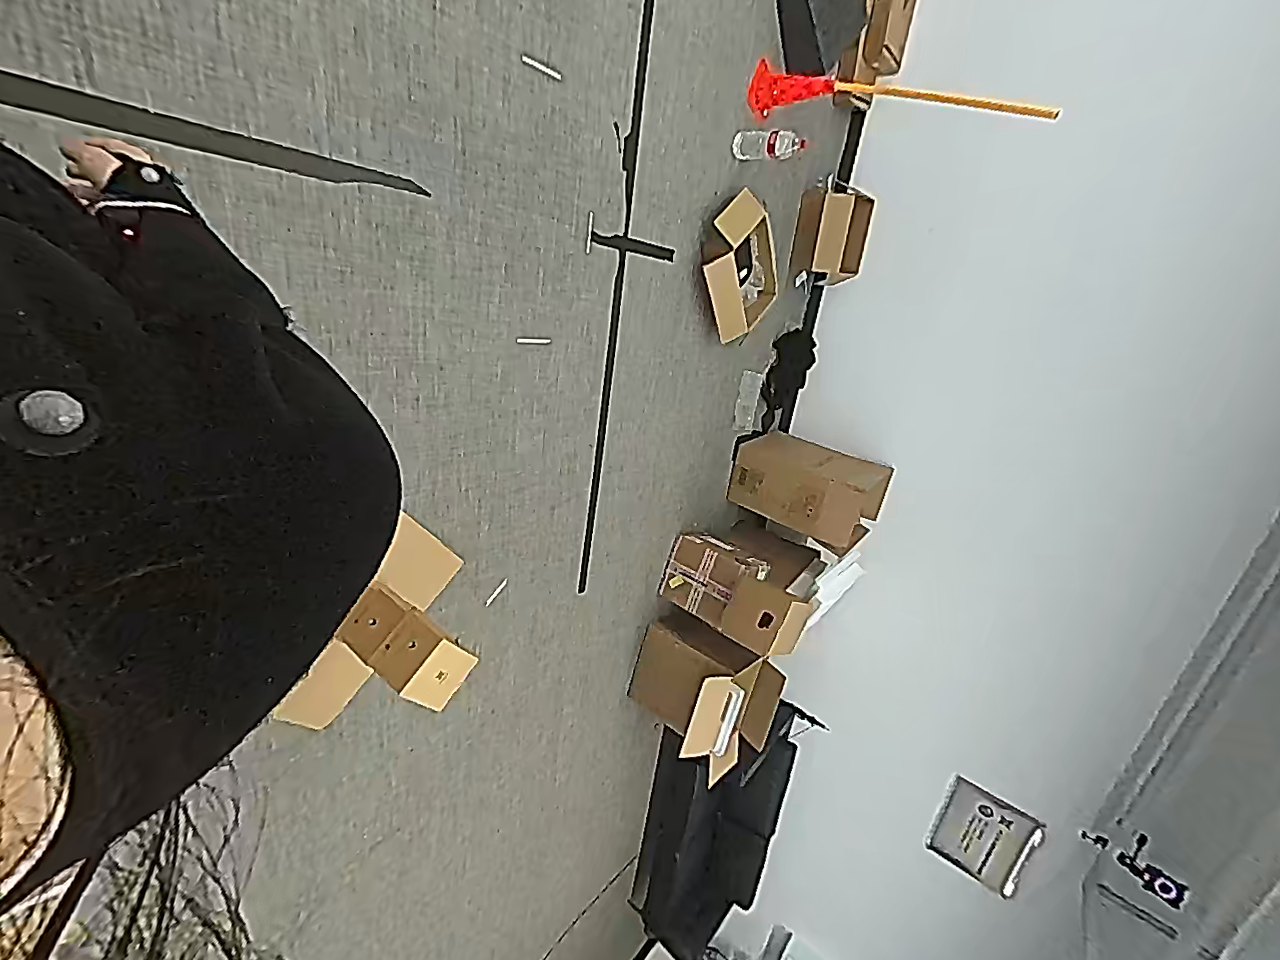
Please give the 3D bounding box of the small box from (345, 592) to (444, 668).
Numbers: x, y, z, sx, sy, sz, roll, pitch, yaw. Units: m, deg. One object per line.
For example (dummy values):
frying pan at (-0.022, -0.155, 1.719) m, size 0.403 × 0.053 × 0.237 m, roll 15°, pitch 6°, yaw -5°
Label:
small box at (-0.703, 0.446, 1.556) m, size 0.168 × 0.176 × 0.179 m, roll -54°, pitch 144°, yaw -17°

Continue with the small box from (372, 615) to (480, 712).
small box at (-0.578, 0.490, 1.461) m, size 0.168 × 0.176 × 0.179 m, roll -54°, pitch 144°, yaw -19°

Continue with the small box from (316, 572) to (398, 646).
small box at (-0.834, 0.405, 1.647) m, size 0.168 × 0.176 × 0.179 m, roll -56°, pitch 143°, yaw -16°
